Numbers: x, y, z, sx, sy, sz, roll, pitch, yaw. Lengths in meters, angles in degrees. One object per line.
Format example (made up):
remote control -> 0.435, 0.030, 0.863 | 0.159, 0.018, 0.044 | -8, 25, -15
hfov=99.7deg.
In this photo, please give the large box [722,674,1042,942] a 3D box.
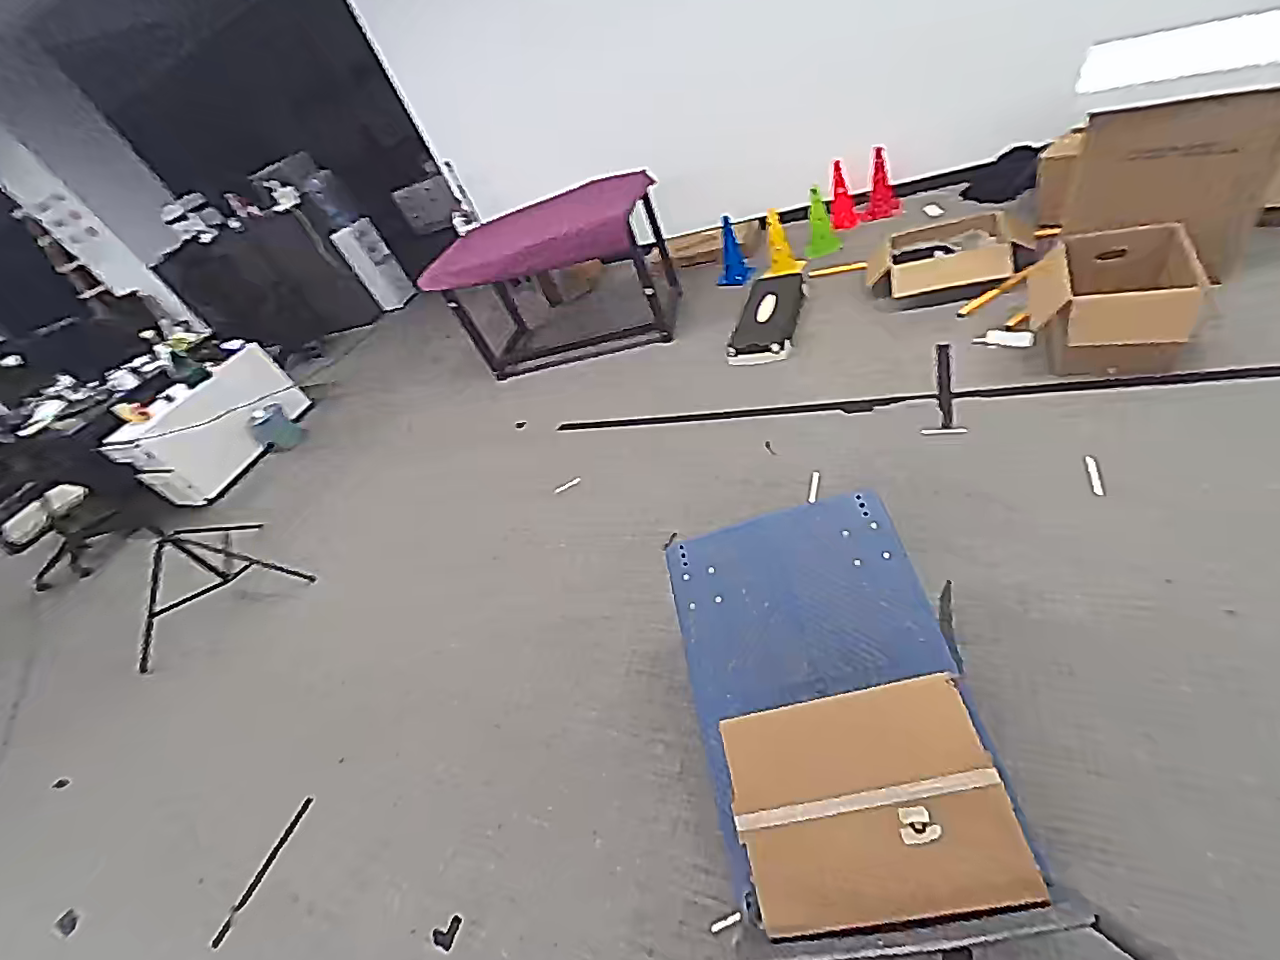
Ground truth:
large box -> 0.404, 0.589, 1.000 | 0.408, 0.320, 0.320 | -18, 59, 9
